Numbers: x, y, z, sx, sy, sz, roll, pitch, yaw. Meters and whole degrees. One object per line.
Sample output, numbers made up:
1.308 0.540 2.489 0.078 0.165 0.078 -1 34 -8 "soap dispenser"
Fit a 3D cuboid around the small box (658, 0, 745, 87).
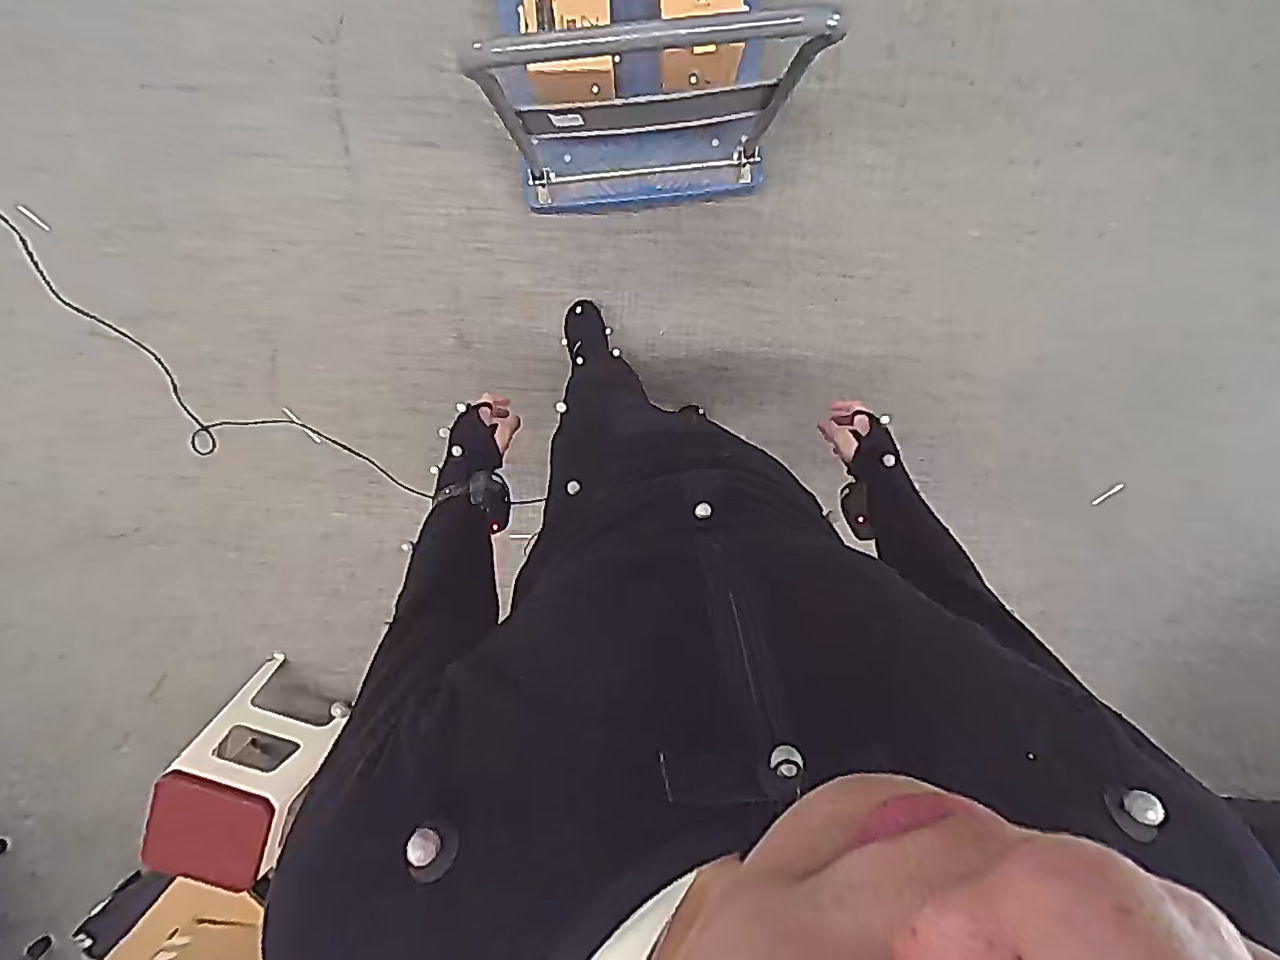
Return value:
0.127 -0.986 1.158 0.168 0.176 0.179 -4 103 2 "small box"
